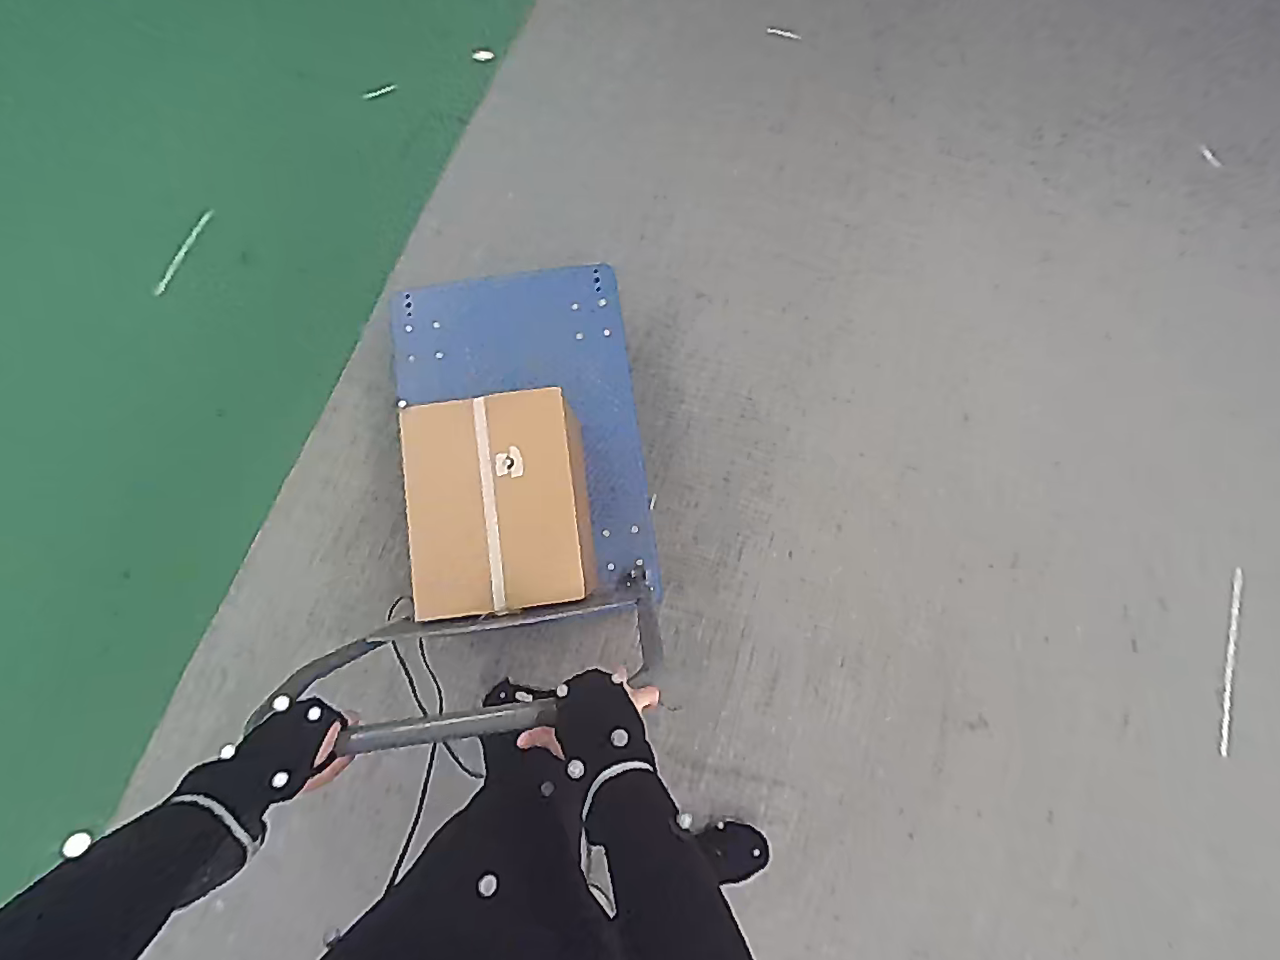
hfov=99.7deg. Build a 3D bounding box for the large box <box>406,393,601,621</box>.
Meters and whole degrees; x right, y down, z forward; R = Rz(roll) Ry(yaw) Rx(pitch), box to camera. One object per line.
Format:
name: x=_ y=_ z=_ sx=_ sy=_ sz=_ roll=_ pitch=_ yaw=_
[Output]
large box: x=-0.274 y=0.067 z=1.175 sx=0.320 sy=0.320 sz=0.408 roll=-8 pitch=82 yaw=-2
